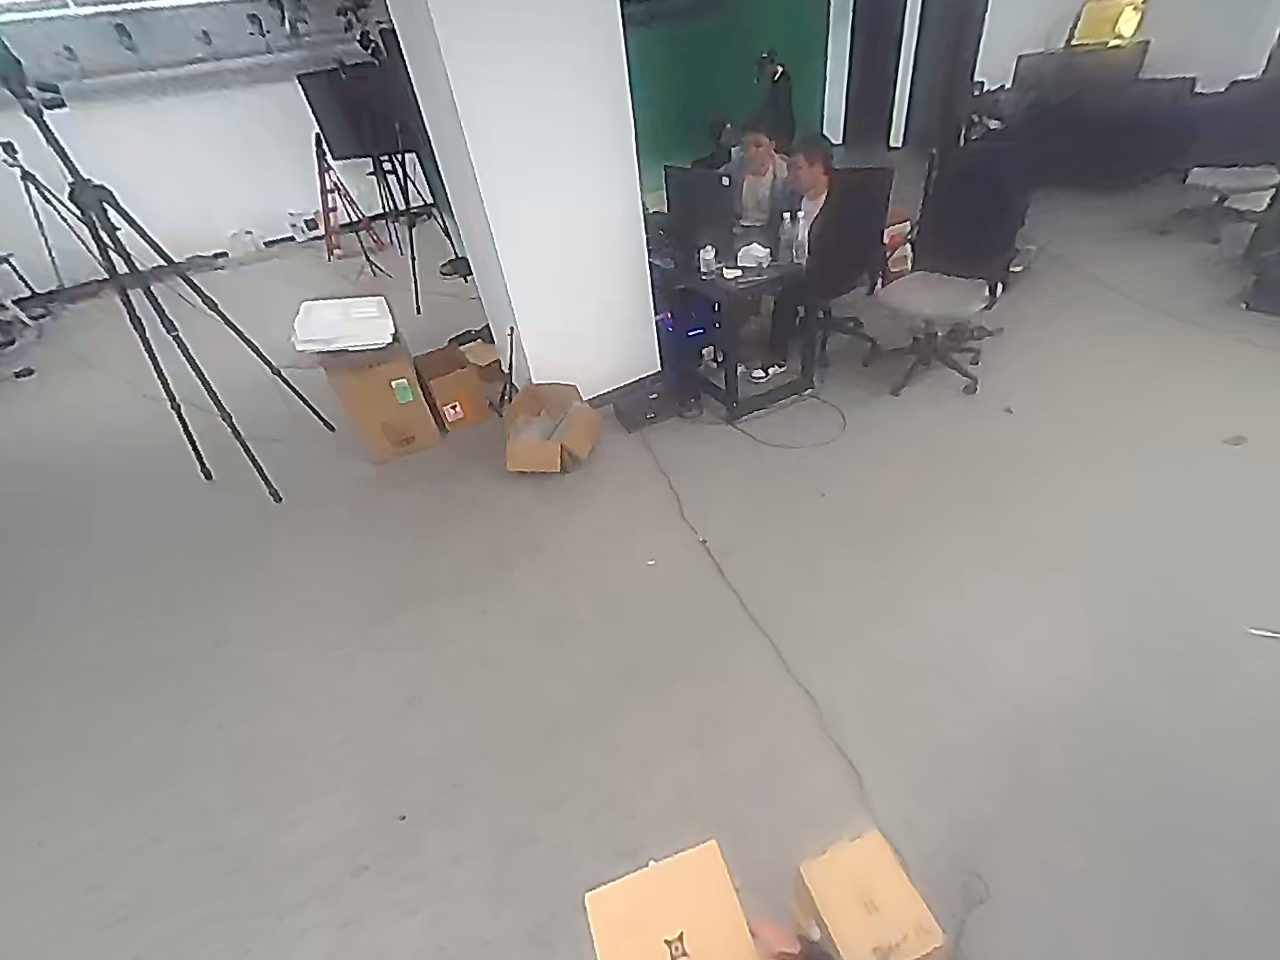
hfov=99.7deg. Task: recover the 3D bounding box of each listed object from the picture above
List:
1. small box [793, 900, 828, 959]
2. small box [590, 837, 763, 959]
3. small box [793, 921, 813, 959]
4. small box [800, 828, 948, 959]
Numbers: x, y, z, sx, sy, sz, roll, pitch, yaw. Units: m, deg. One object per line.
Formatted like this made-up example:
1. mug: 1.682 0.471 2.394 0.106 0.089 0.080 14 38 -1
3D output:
1. small box: 0.420 0.890 1.051 0.179 0.176 0.168 -23 39 -15
2. small box: 0.045 0.562 0.635 0.168 0.176 0.179 -15 49 -12
3. small box: 0.442 1.016 1.150 0.168 0.176 0.179 -24 40 -16
4. small box: 0.395 0.763 0.949 0.168 0.176 0.179 -18 37 -9
